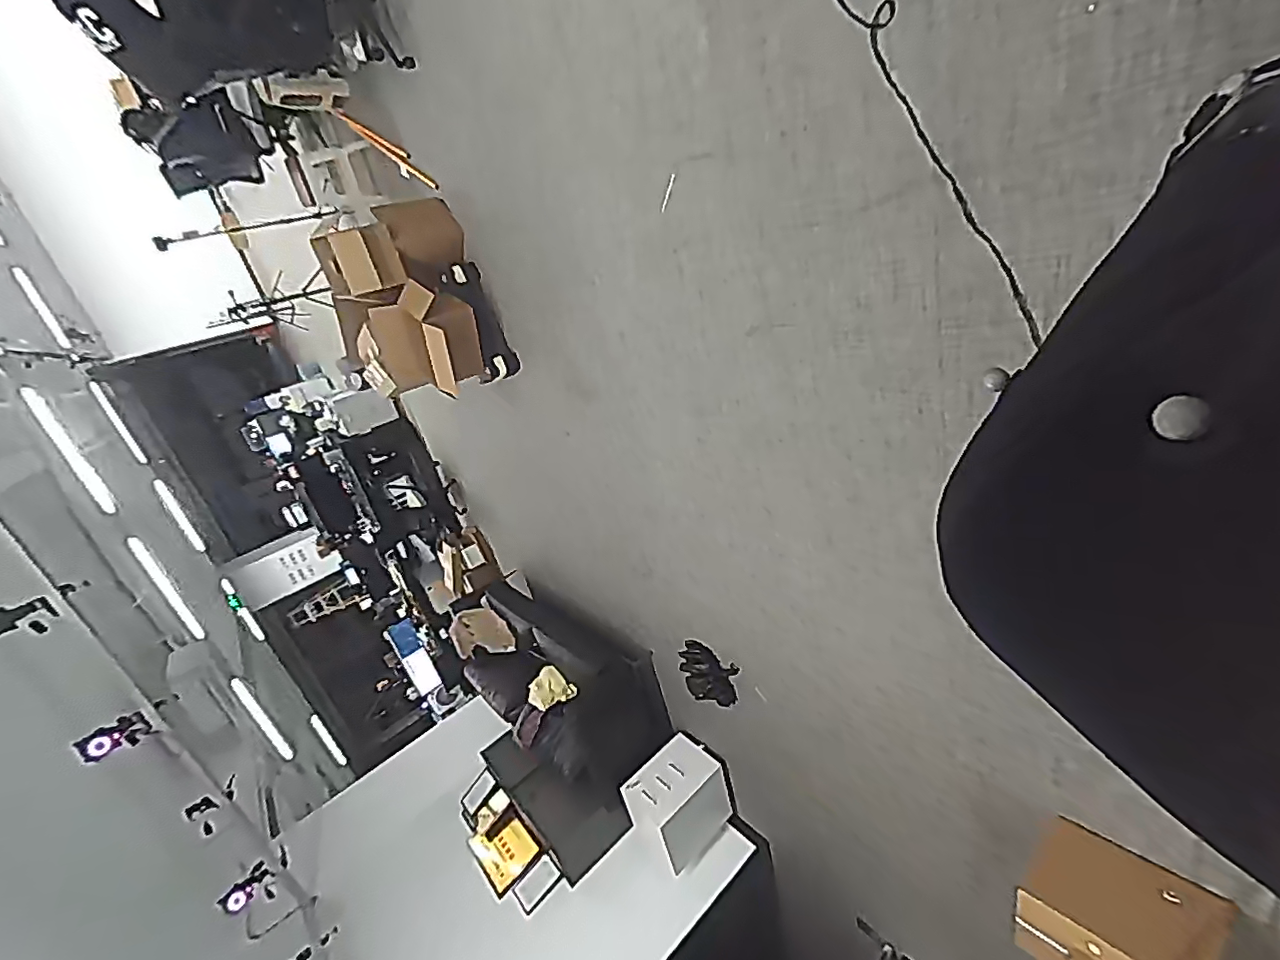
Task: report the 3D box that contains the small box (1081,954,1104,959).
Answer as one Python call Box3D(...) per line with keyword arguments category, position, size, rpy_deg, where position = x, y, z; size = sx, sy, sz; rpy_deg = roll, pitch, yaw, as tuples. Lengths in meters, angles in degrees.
Box3D(category="small box", position=(1.266, 1.441, 1.455), size=(0.179, 0.176, 0.168), rpy_deg=(21, 128, 47))
